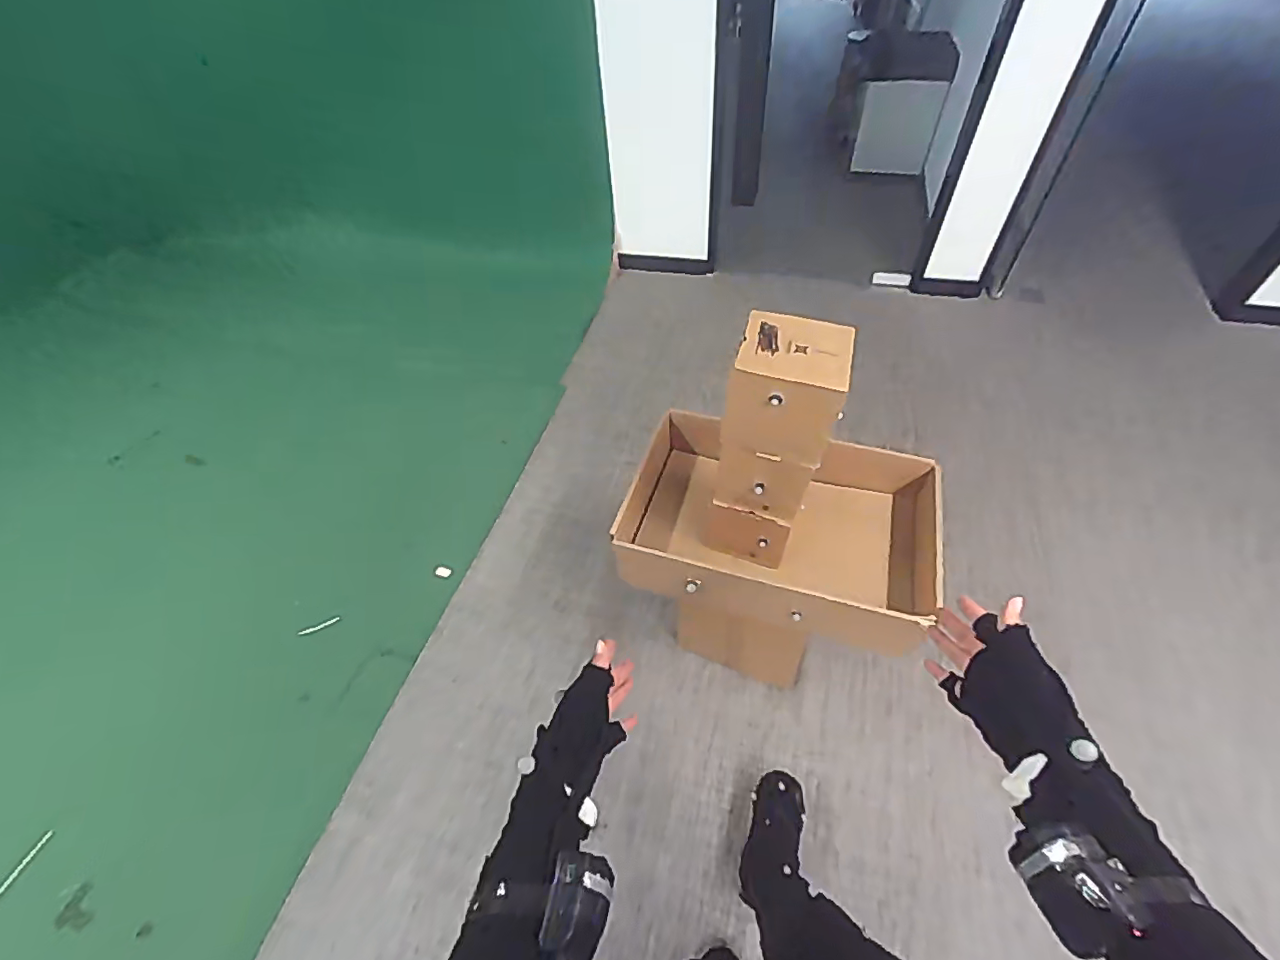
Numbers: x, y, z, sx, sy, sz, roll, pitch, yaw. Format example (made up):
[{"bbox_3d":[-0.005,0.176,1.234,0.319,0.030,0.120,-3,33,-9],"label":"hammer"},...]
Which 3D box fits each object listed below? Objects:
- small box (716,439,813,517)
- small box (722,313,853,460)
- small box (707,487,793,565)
[{"bbox_3d":[0.250,-0.054,1.054,0.168,0.176,0.179,16,54,13],"label":"small box"},{"bbox_3d":[0.246,-0.156,0.924,0.179,0.176,0.168,14,53,11],"label":"small box"},{"bbox_3d":[0.248,0.057,1.175,0.168,0.176,0.179,16,51,13],"label":"small box"}]
